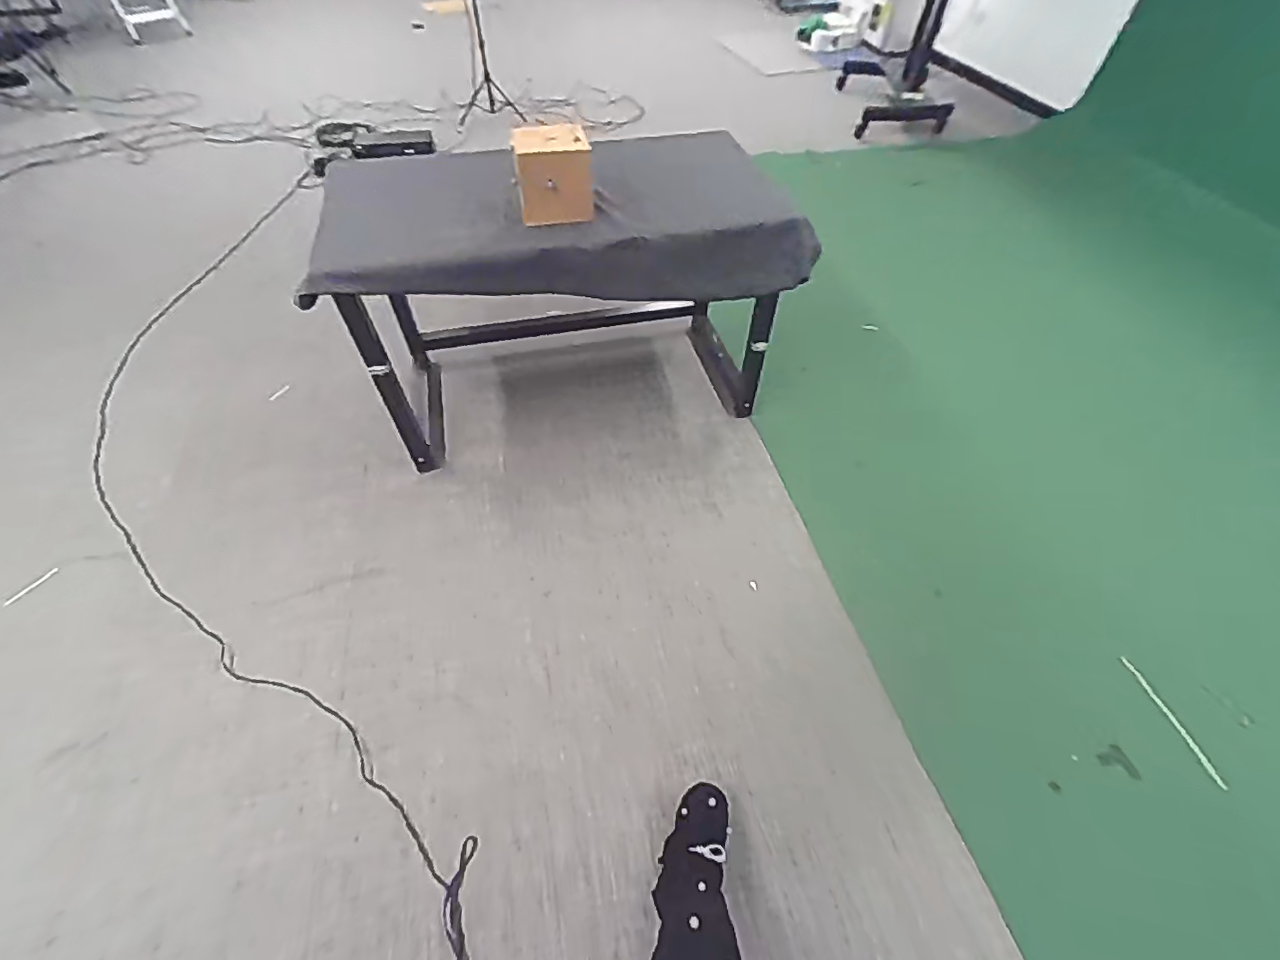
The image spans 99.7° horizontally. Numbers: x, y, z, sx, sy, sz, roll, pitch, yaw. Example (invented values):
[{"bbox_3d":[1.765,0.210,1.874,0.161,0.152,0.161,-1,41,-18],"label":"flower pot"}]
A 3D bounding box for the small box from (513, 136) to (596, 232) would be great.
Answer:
[{"bbox_3d":[-0.213,-0.743,1.363,0.179,0.176,0.168,-11,50,-10],"label":"small box"}]
